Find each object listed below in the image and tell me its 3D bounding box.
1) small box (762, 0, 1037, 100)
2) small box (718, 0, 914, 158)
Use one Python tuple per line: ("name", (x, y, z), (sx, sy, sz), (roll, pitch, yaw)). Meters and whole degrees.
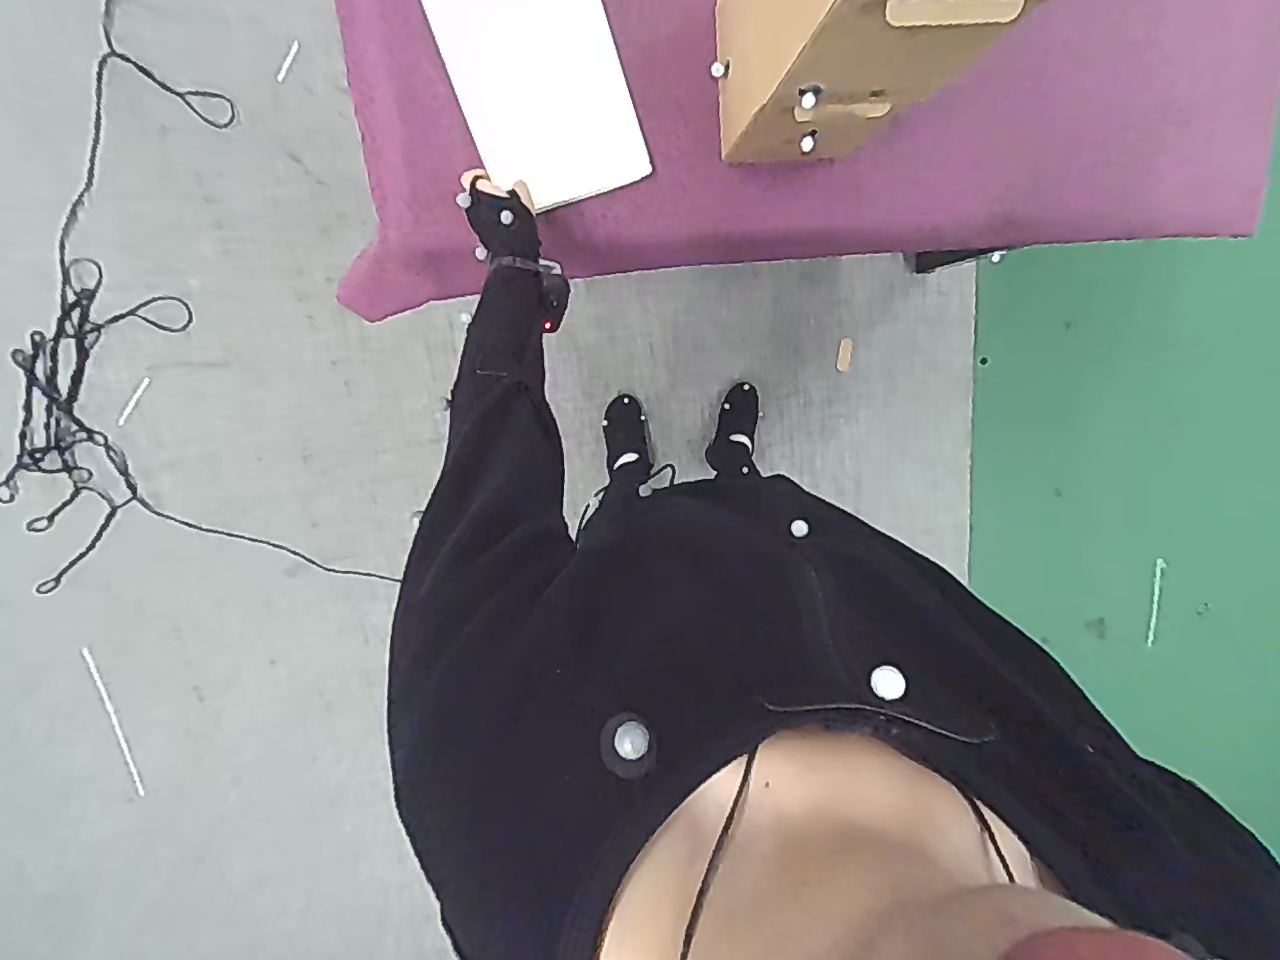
("small box", (0.205, -0.441, 0.442), (0.168, 0.176, 0.179), (-5, 101, -5))
("small box", (0.188, -0.479, 0.602), (0.168, 0.176, 0.179), (-6, 102, -5))
